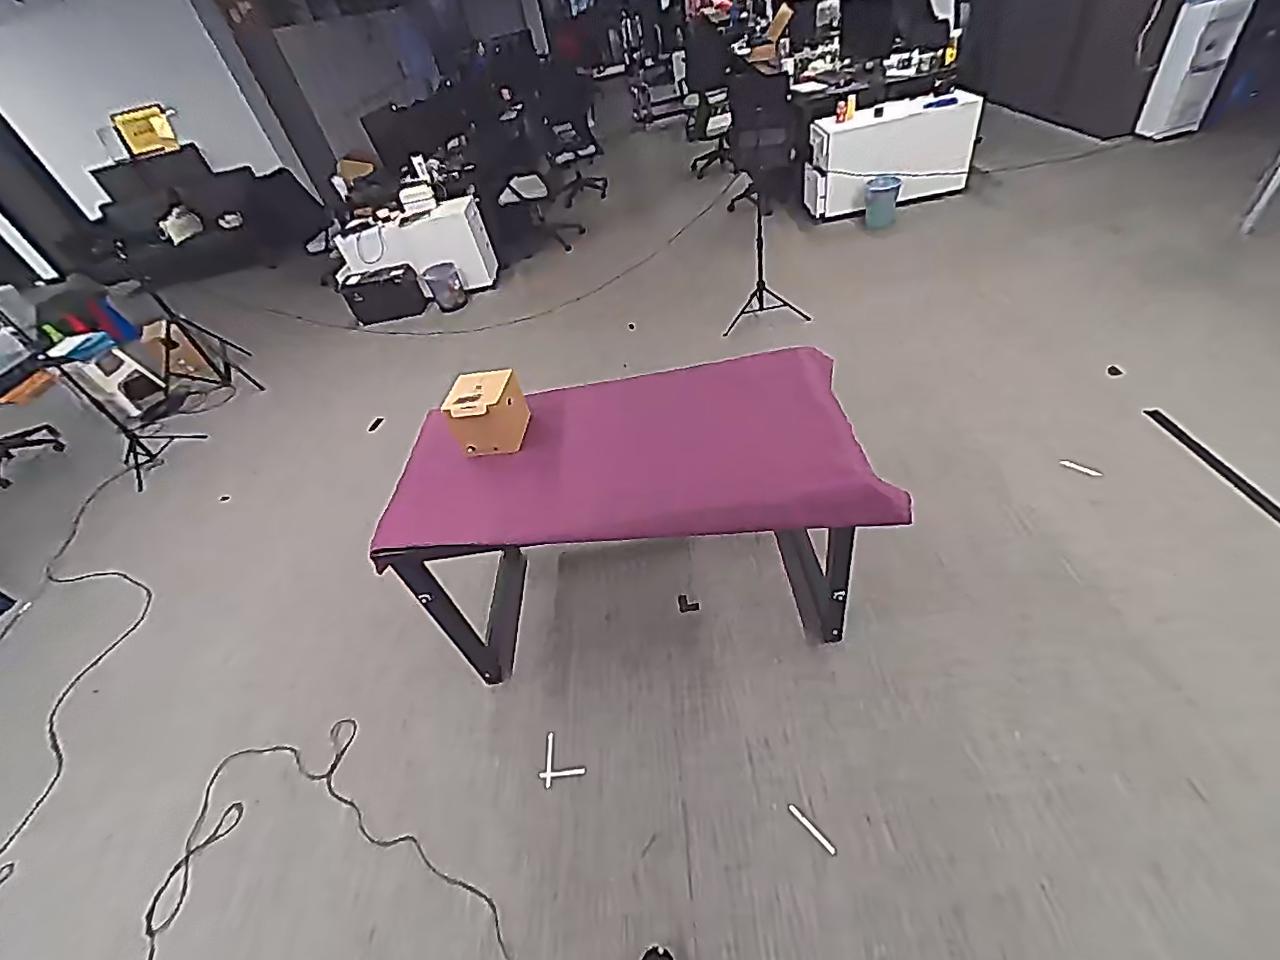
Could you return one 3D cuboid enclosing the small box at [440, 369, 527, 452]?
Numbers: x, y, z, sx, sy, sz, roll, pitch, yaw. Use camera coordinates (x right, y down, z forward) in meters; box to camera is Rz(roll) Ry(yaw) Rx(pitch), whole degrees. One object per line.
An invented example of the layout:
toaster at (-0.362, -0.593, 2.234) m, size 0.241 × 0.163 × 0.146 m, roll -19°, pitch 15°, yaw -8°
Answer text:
small box at (-0.435, -0.192, 1.542) m, size 0.168 × 0.176 × 0.179 m, roll -5°, pitch 44°, yaw 10°
